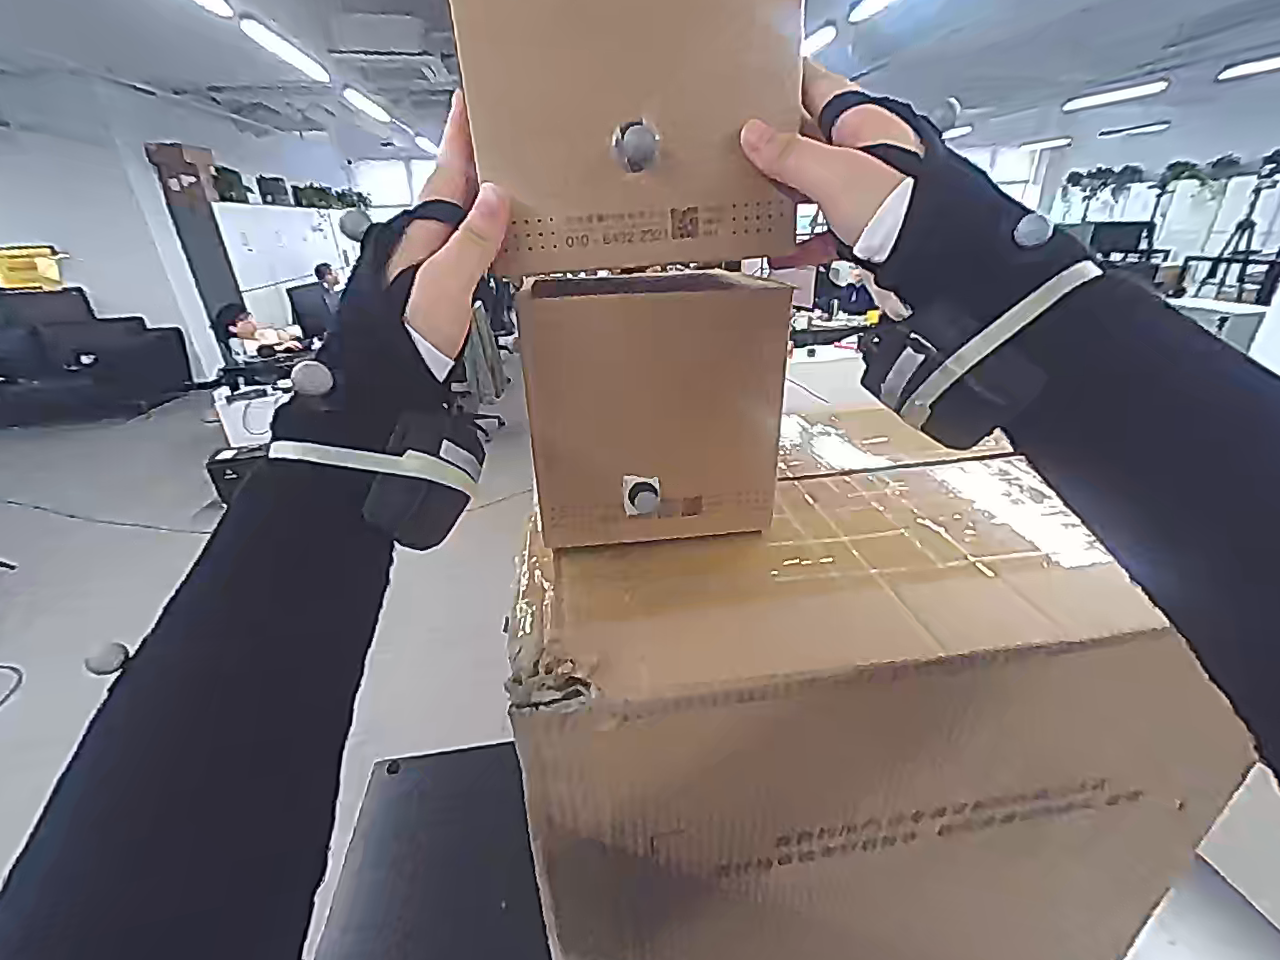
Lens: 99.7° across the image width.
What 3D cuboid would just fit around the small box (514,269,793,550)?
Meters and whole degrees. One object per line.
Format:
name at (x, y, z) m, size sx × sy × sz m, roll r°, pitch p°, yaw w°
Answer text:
small box at (0.001, -0.065, 0.417) m, size 0.168 × 0.176 × 0.179 m, roll -6°, pitch 25°, yaw -7°

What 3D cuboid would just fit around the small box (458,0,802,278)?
small box at (-0.009, -0.220, 0.339) m, size 0.168 × 0.176 × 0.179 m, roll -6°, pitch 21°, yaw -3°
